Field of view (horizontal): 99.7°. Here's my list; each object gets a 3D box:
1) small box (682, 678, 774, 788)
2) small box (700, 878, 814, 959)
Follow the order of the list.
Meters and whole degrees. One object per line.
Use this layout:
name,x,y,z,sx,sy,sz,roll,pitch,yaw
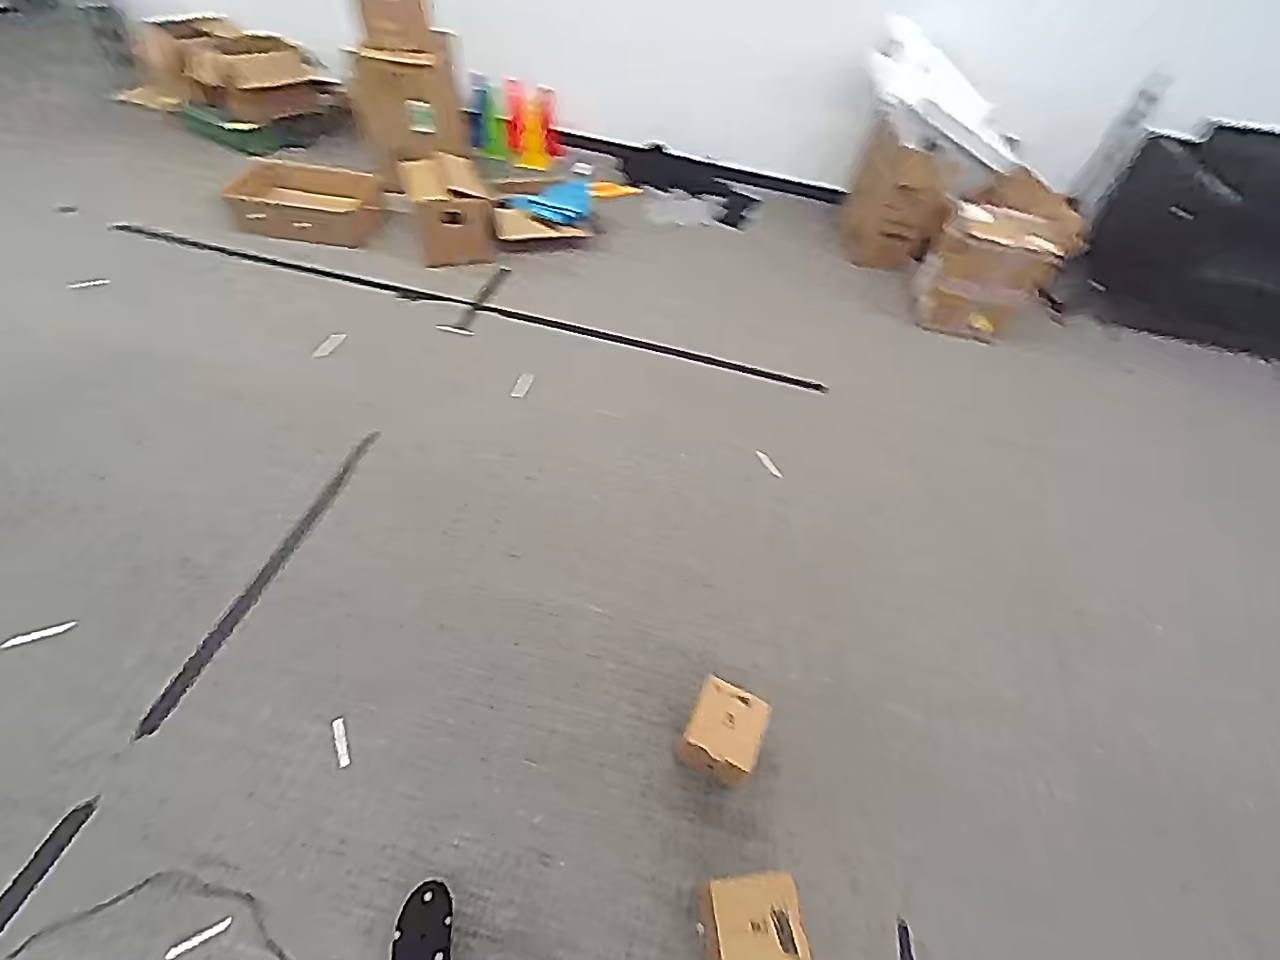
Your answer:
small box,0.214,0.638,1.354,0.168,0.176,0.179,24,52,12
small box,0.235,0.932,1.113,0.179,0.176,0.168,-1,51,-8
